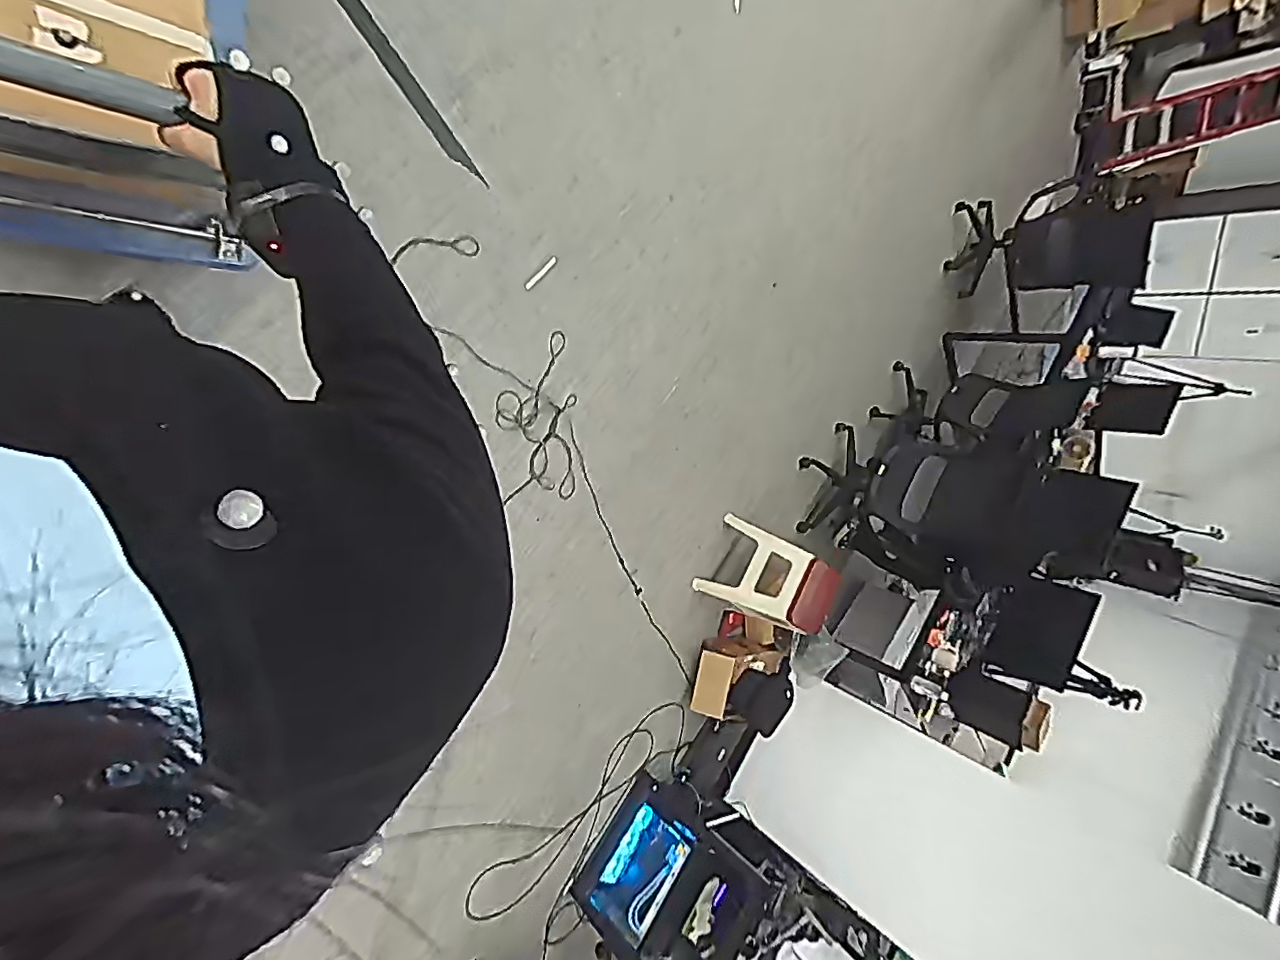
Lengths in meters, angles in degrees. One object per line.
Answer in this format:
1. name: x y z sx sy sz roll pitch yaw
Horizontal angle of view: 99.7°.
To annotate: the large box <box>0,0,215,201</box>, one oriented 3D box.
1. large box: -0.834 -0.599 0.699 0.408 0.320 0.320 -6 106 -43
